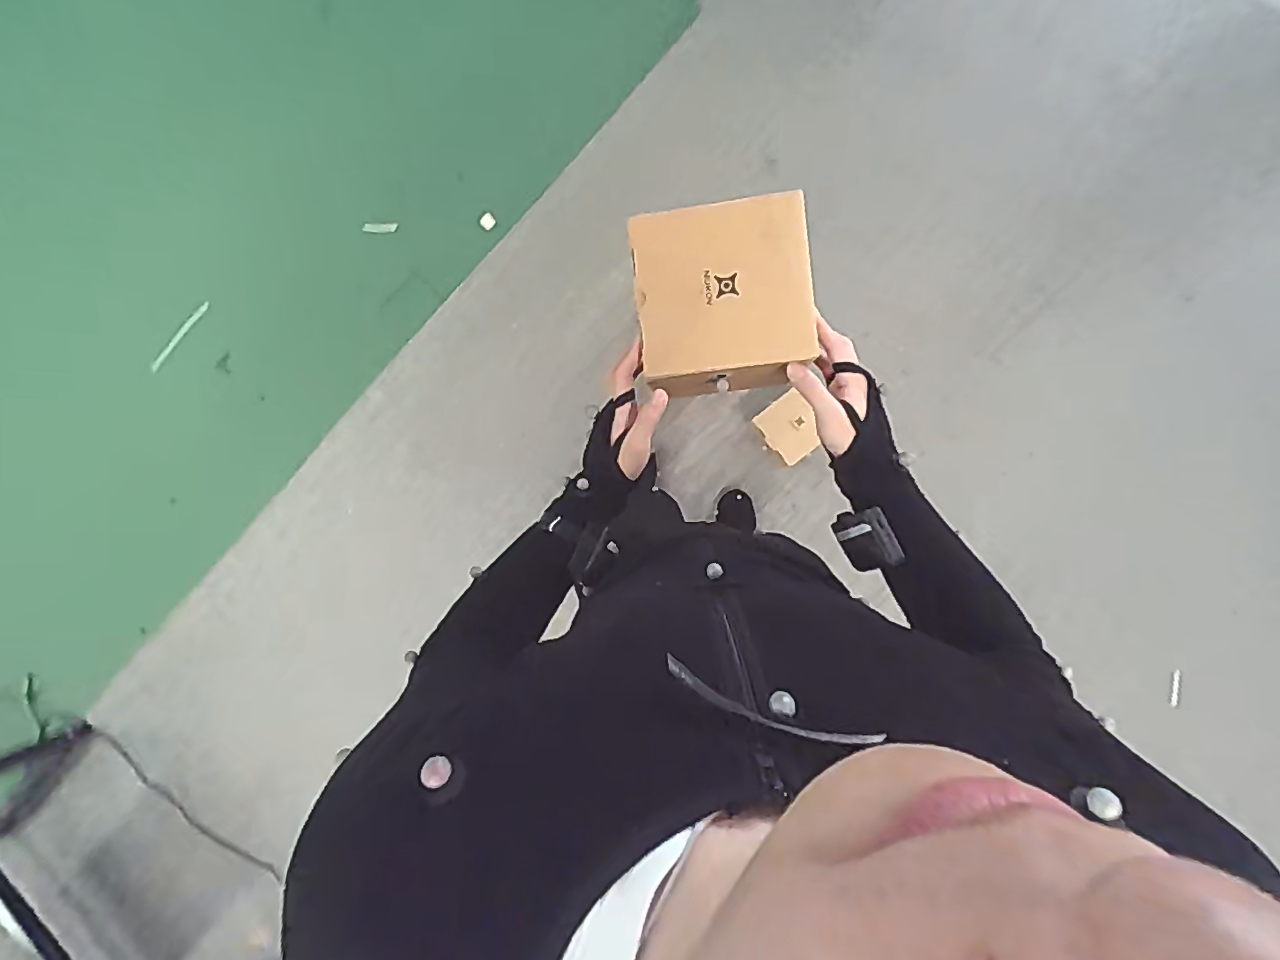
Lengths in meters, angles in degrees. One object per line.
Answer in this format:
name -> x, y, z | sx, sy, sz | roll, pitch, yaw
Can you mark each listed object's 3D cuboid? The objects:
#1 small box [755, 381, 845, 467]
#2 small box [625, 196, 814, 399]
small box -> 0.439, -0.147, 1.512 | 0.179, 0.176, 0.168 | -38, 85, 8
small box -> 0.087, -0.192, 0.621 | 0.179, 0.176, 0.168 | -7, 90, 7
